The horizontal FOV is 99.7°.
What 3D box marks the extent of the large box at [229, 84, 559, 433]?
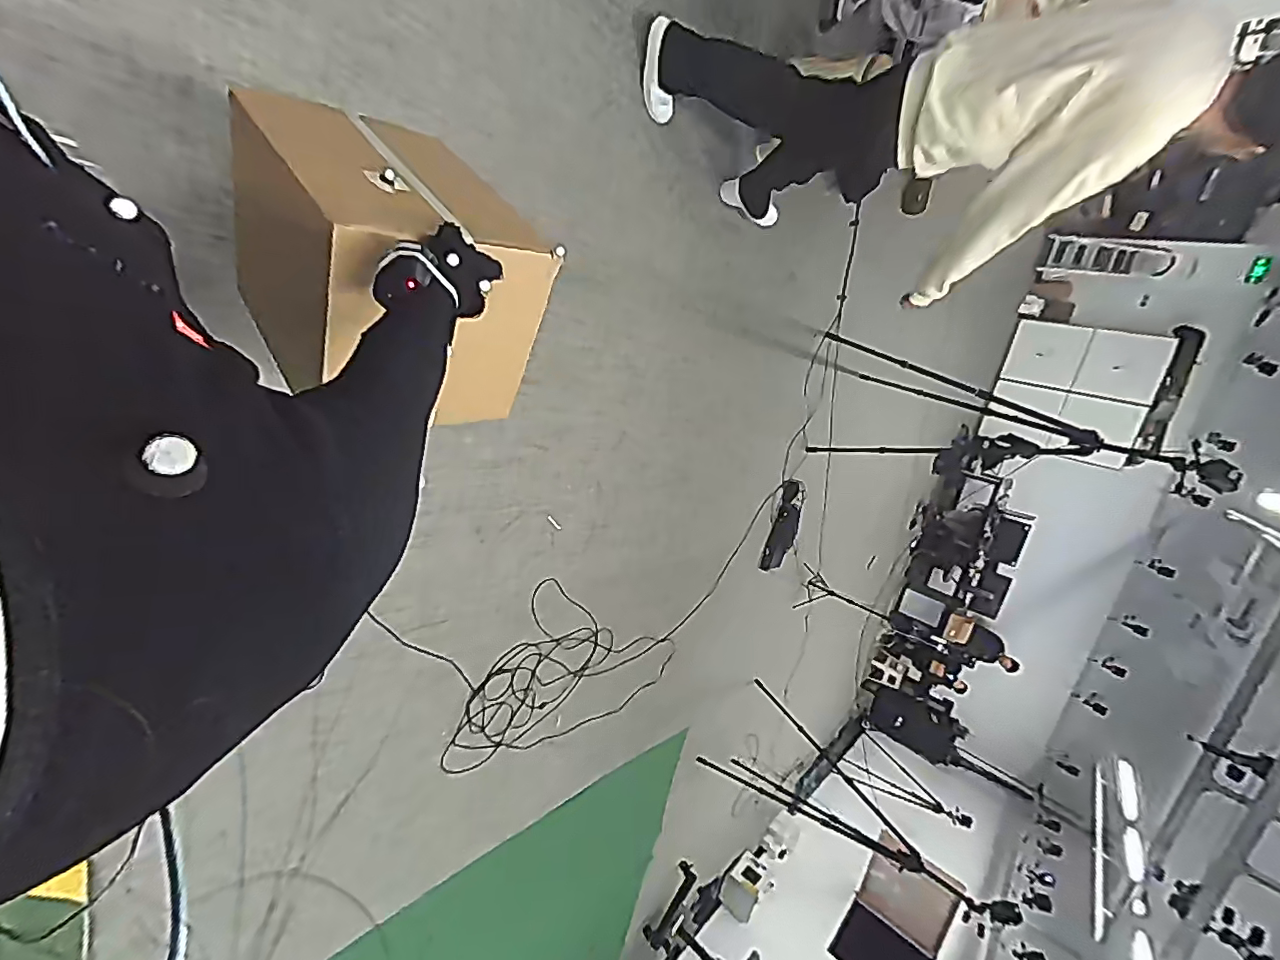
[{"bbox_3d":[-0.404,-0.334,0.860,0.320,0.408,0.320,-17,147,-44],"label":"large box"}]
